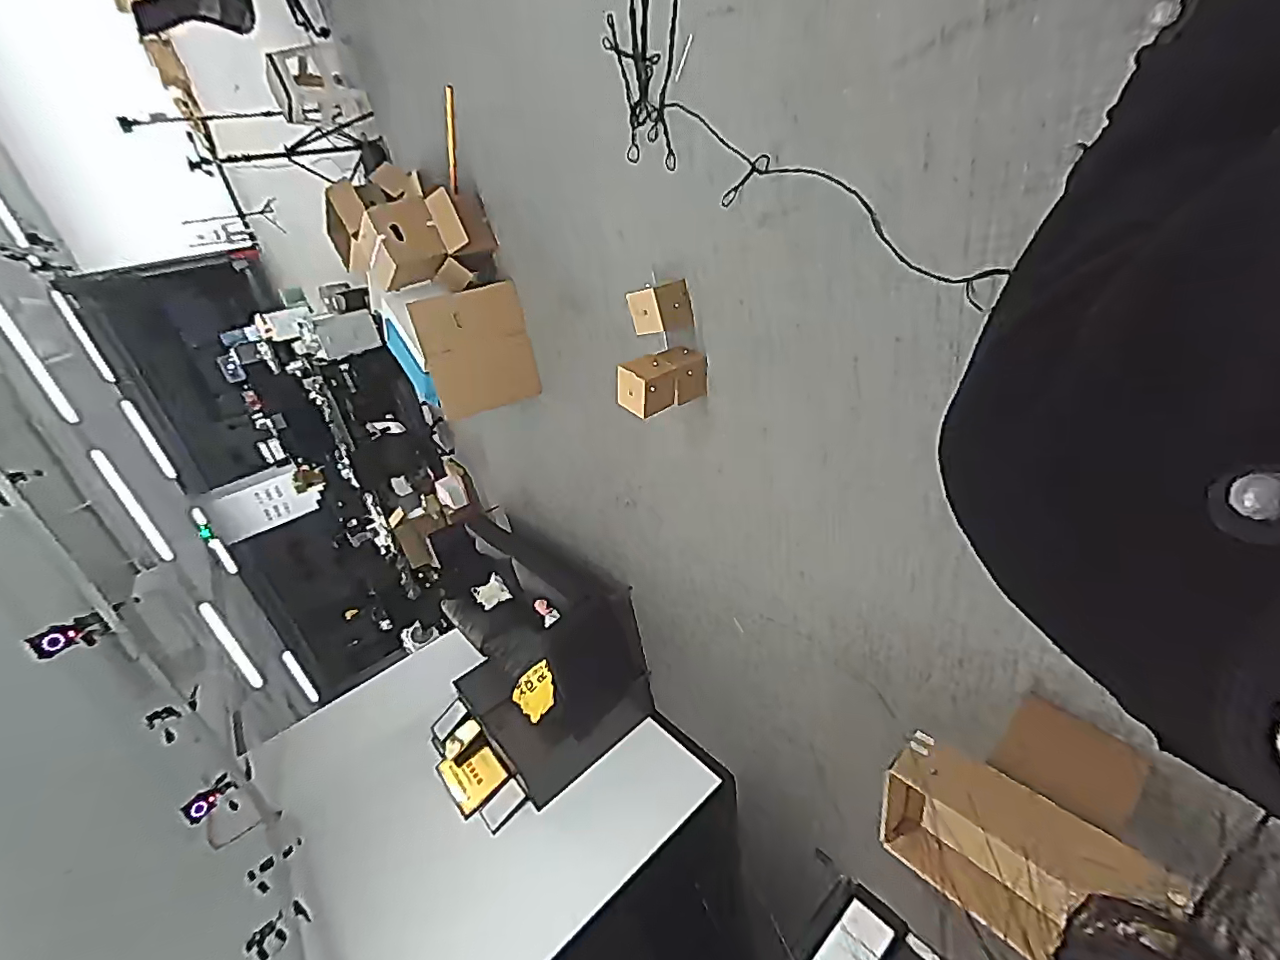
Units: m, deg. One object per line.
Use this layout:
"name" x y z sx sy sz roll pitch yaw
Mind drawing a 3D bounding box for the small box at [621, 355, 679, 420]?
"small box" 0.039 -0.372 2.153 0.168 0.176 0.179 37 141 36

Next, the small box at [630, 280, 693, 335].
"small box" 0.092 -0.681 2.135 0.179 0.176 0.168 13 125 52
